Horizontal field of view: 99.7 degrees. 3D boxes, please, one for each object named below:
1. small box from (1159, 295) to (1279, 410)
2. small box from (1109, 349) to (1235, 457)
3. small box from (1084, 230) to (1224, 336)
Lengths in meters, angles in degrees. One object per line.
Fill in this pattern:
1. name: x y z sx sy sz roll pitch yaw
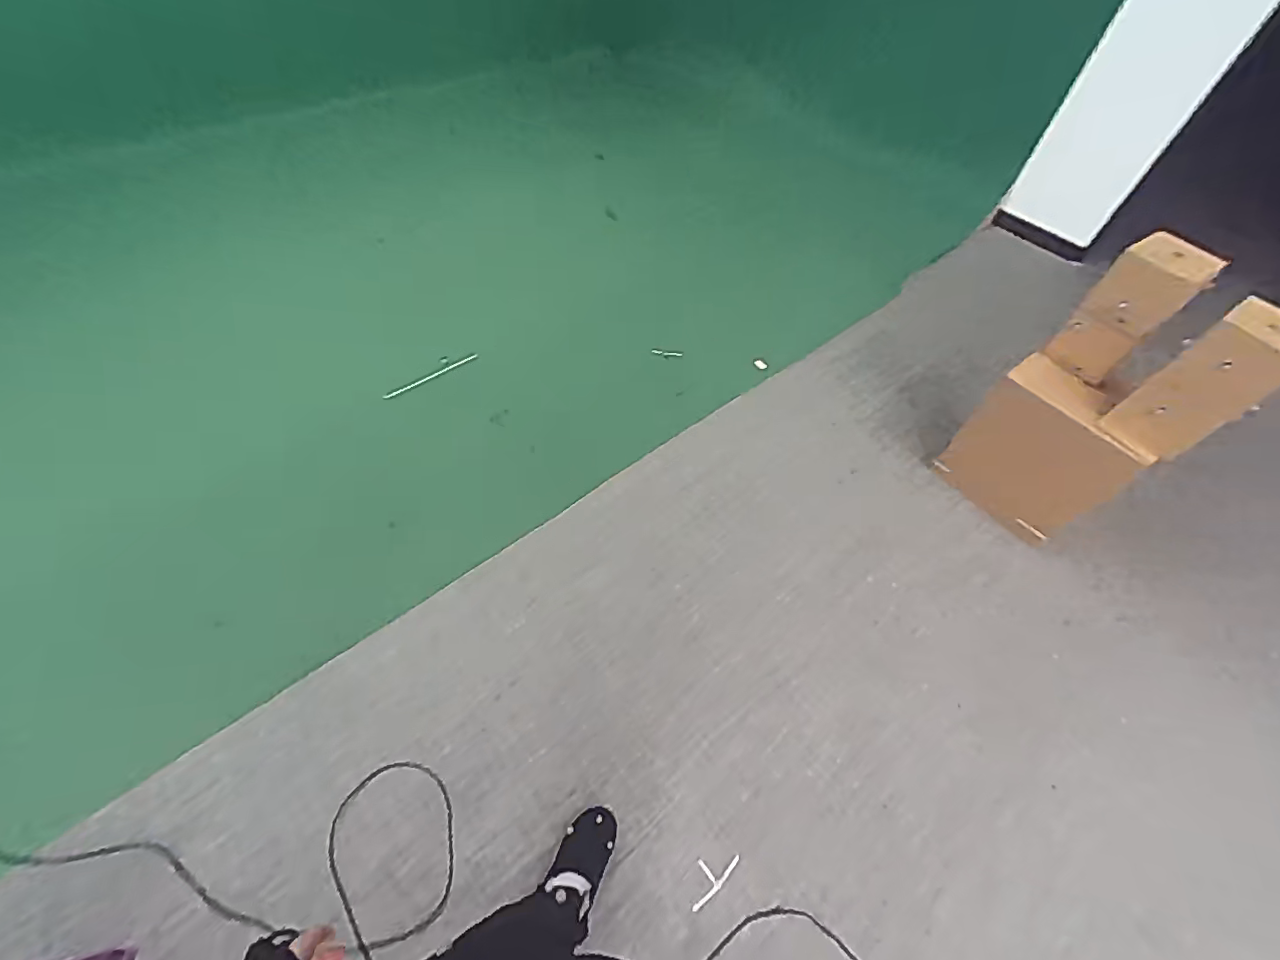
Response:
1. small box: 1.367 -0.282 1.230 0.168 0.176 0.179 -29 62 -21
2. small box: 1.356 -0.191 1.366 0.168 0.176 0.179 -31 62 -20
3. small box: 1.300 -0.500 1.382 0.179 0.176 0.168 -28 60 -20
